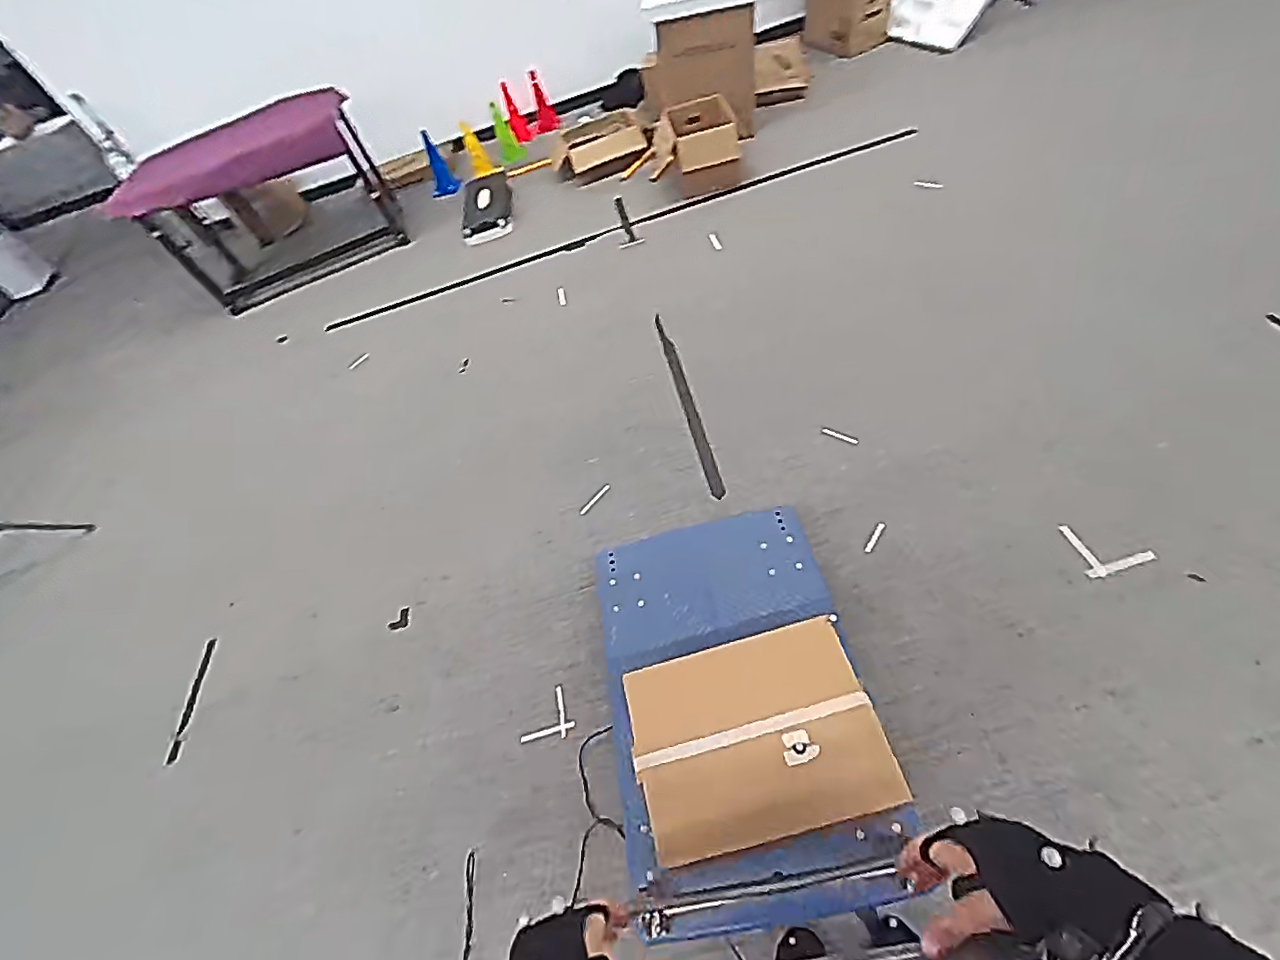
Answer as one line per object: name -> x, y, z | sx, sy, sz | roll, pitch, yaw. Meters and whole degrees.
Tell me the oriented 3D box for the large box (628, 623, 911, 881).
large box -> 0.226, 0.528, 1.037 | 0.408, 0.320, 0.320 | -17, 52, 2
